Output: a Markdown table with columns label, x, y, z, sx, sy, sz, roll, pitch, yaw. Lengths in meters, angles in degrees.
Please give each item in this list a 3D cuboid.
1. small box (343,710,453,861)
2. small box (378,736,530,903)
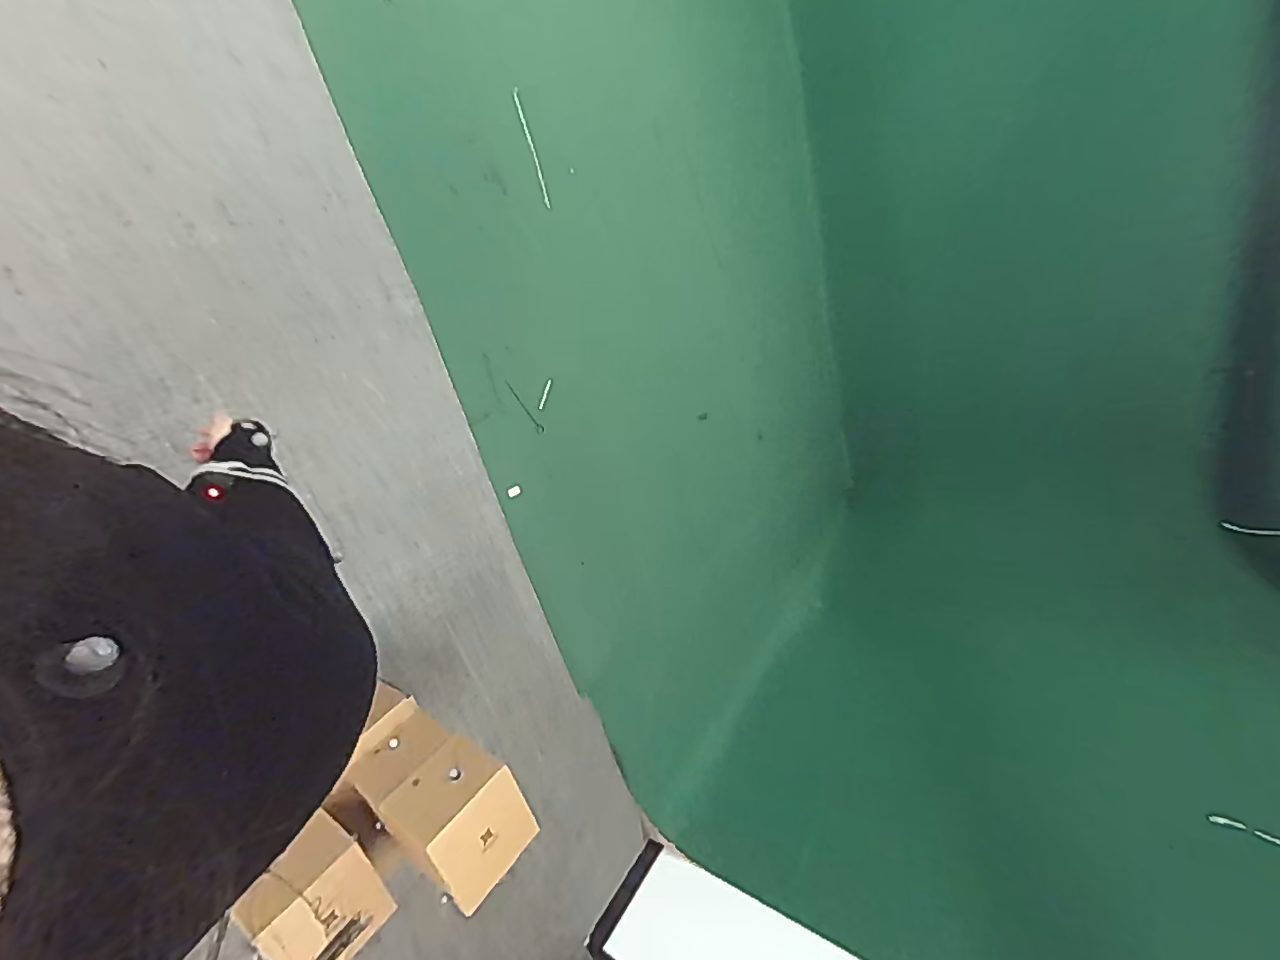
| label | x | y | z | sx | sy | sz | roll | pitch | yaw |
| --- | --- | --- | --- | --- | --- | --- | --- | --- | --- |
| small box | -0.458 | 0.601 | 1.088 | 0.168 | 0.176 | 0.179 | -36 | 117 | -41 |
| small box | -0.337 | 0.596 | 0.979 | 0.168 | 0.176 | 0.179 | -37 | 119 | -41 |
